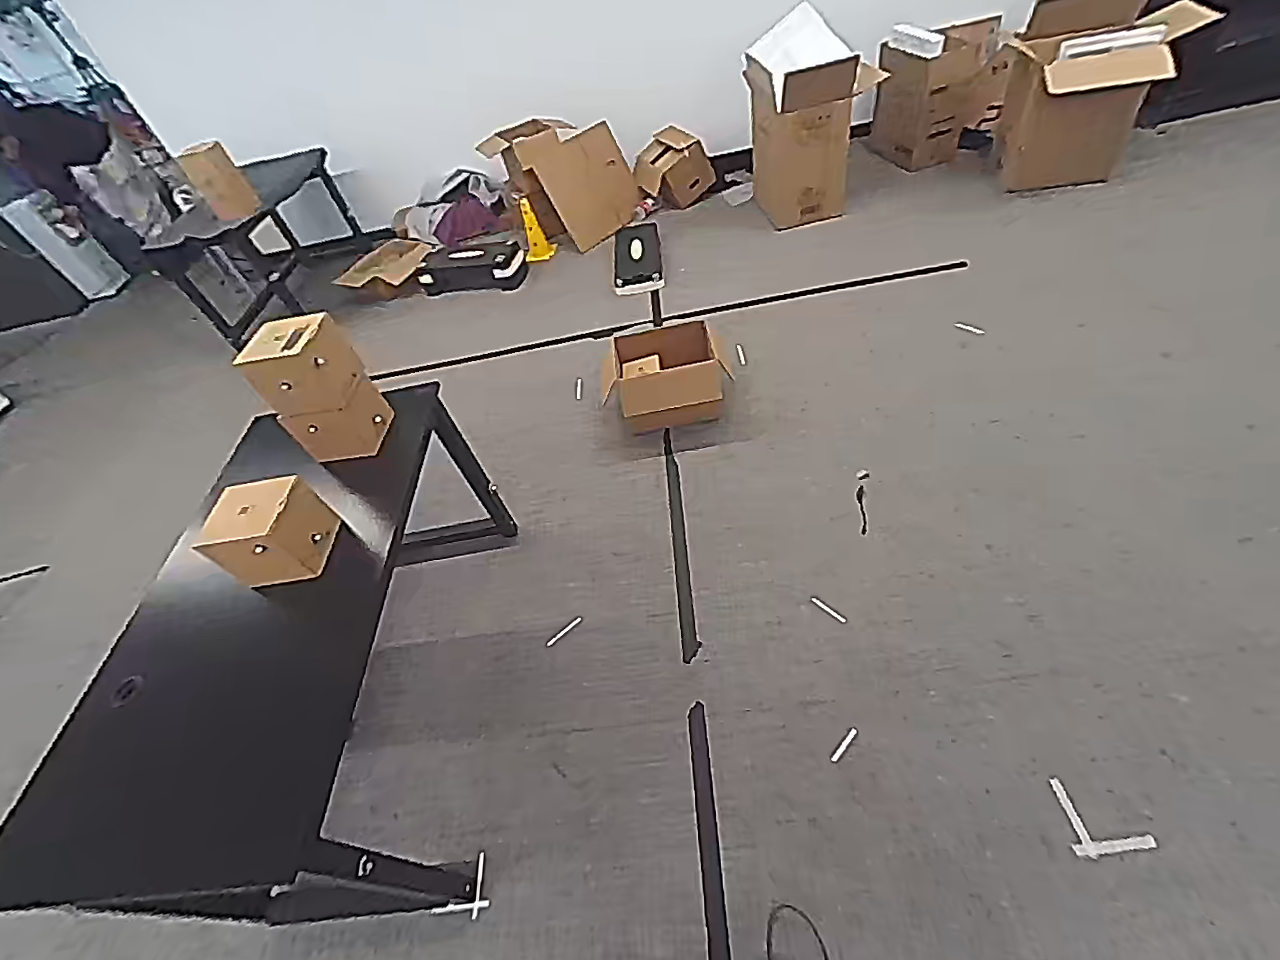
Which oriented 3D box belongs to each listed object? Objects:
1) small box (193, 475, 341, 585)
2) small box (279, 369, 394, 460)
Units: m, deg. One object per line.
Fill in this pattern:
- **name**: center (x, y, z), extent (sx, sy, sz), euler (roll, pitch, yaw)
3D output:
- **small box**: center (-0.811, 0.116, 1.196), extent (0.179, 0.176, 0.168), euler (-10, 48, 5)
- **small box**: center (-0.795, -0.168, 1.436), extent (0.179, 0.176, 0.168), euler (-6, 50, 9)
